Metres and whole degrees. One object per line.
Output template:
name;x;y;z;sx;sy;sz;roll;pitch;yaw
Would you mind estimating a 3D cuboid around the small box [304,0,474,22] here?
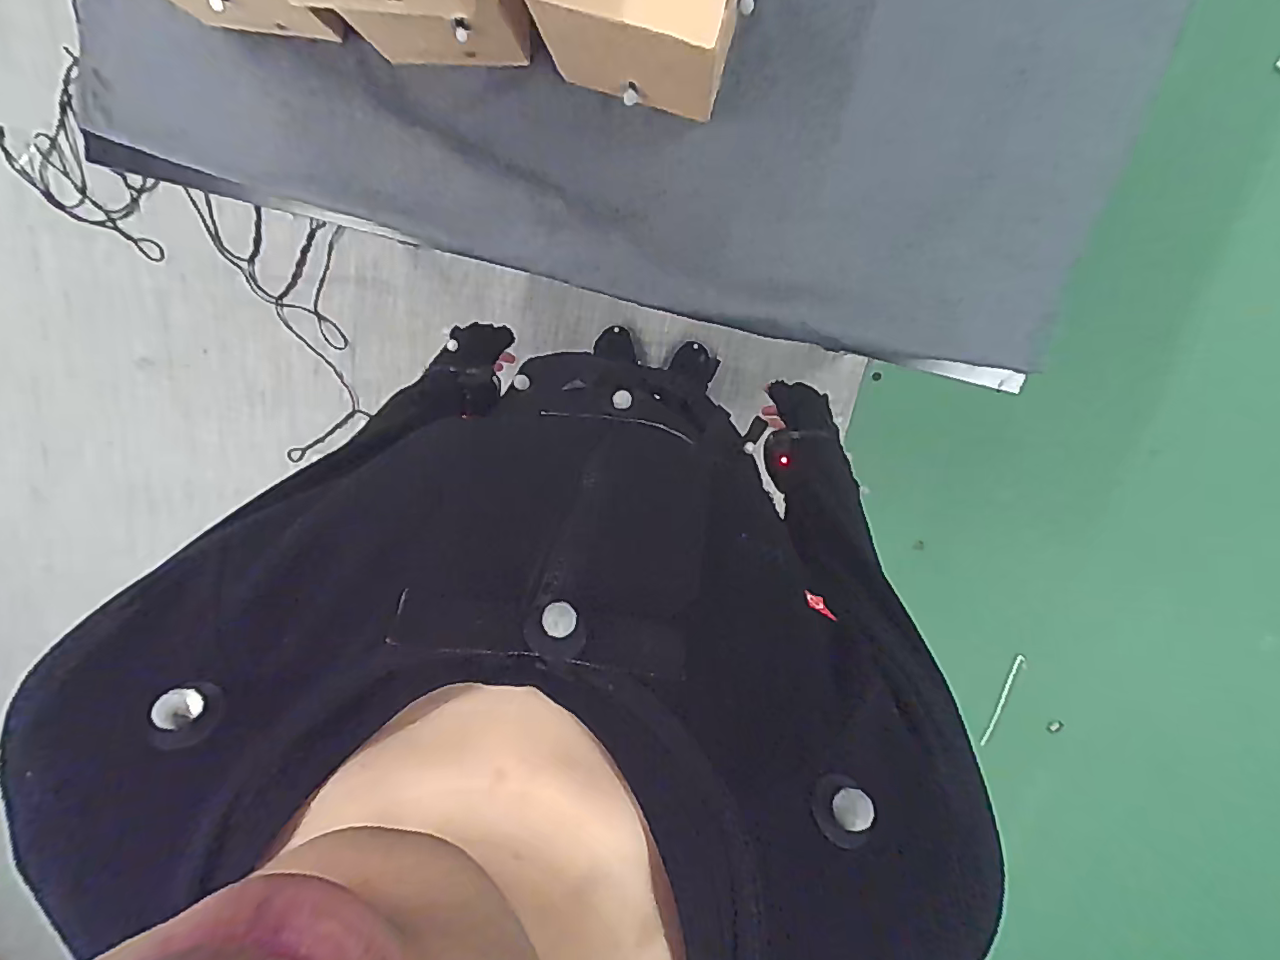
small box;-0.220;-0.464;0.375;0.168;0.176;0.179;5;105;2
